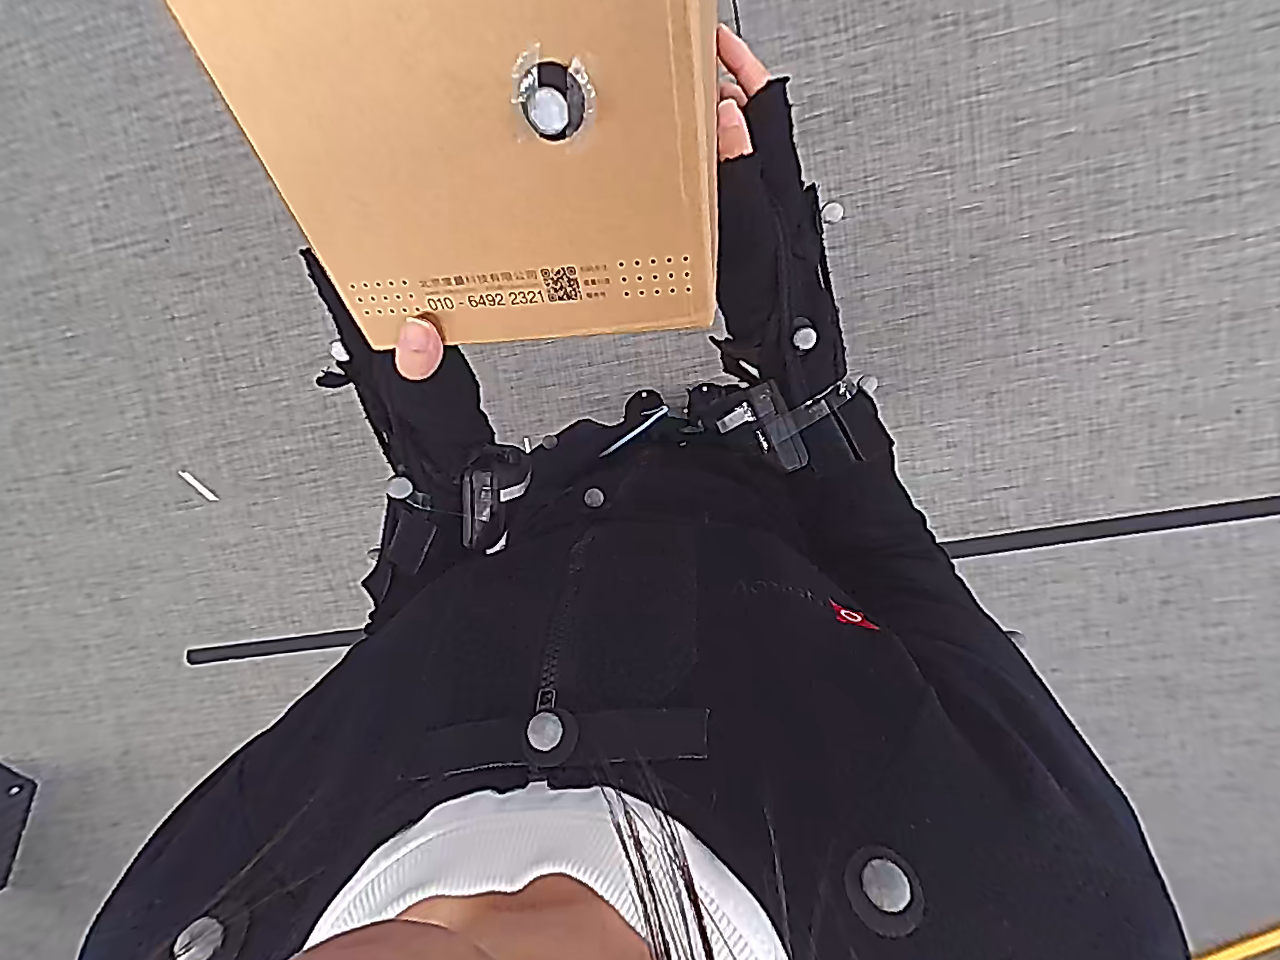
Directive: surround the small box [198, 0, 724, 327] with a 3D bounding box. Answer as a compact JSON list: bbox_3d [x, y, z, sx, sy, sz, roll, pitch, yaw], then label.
[{"bbox_3d":[-0.048,-0.187,0.260,0.168,0.179,0.176,0,138,12],"label":"small box"}]
